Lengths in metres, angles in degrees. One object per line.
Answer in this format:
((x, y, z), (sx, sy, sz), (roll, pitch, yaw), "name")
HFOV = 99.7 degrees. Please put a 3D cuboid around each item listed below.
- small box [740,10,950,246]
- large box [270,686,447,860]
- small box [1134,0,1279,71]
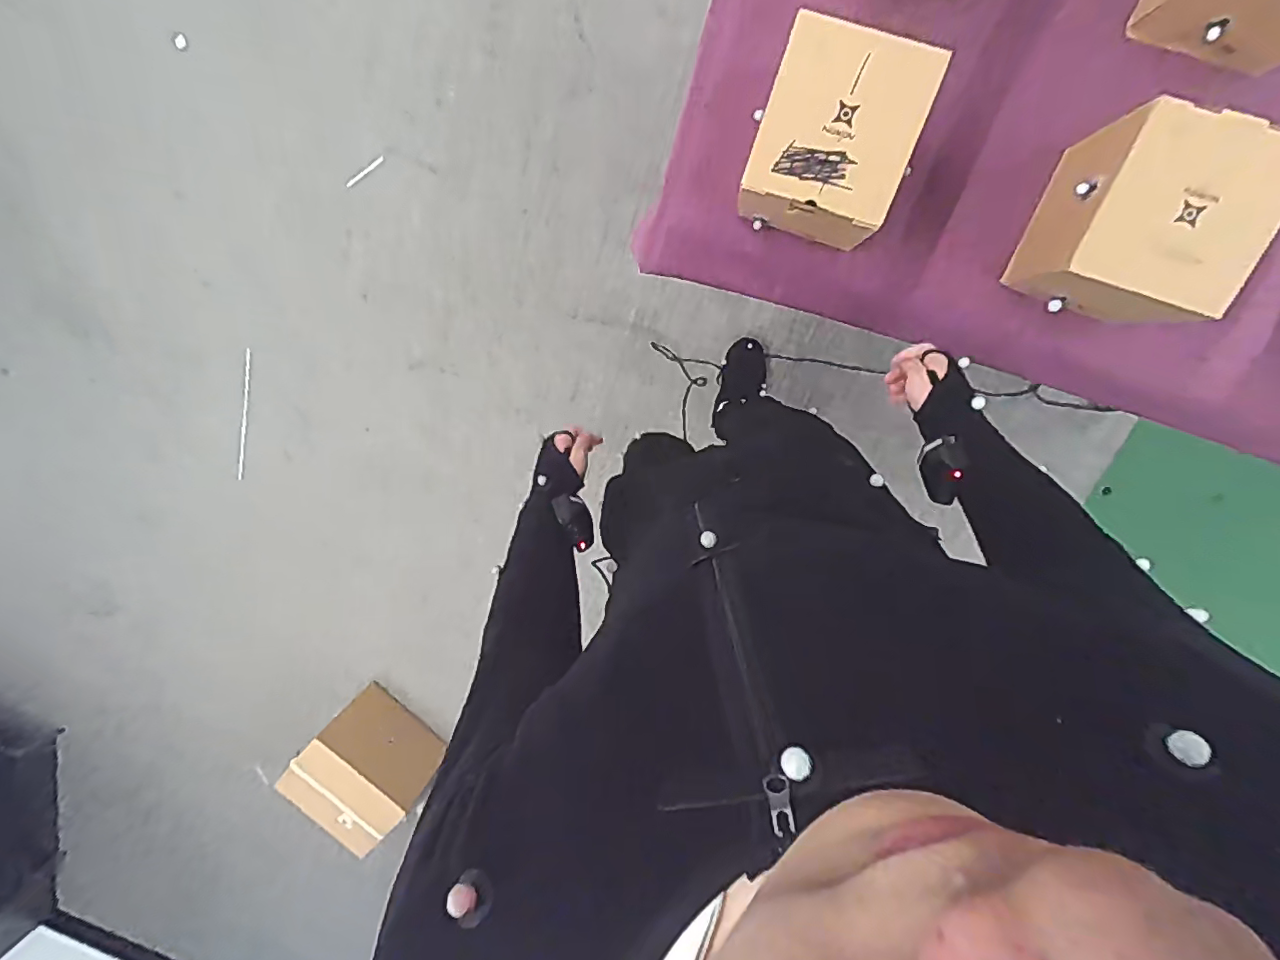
((0.229, -0.403, 0.656), (0.168, 0.176, 0.179), (19, 107, 3), "small box")
((-0.996, 1.041, 1.950), (0.408, 0.320, 0.320), (42, 108, -5), "large box")
((0.669, -0.564, 0.543), (0.168, 0.176, 0.179), (19, 109, 3), "small box")
